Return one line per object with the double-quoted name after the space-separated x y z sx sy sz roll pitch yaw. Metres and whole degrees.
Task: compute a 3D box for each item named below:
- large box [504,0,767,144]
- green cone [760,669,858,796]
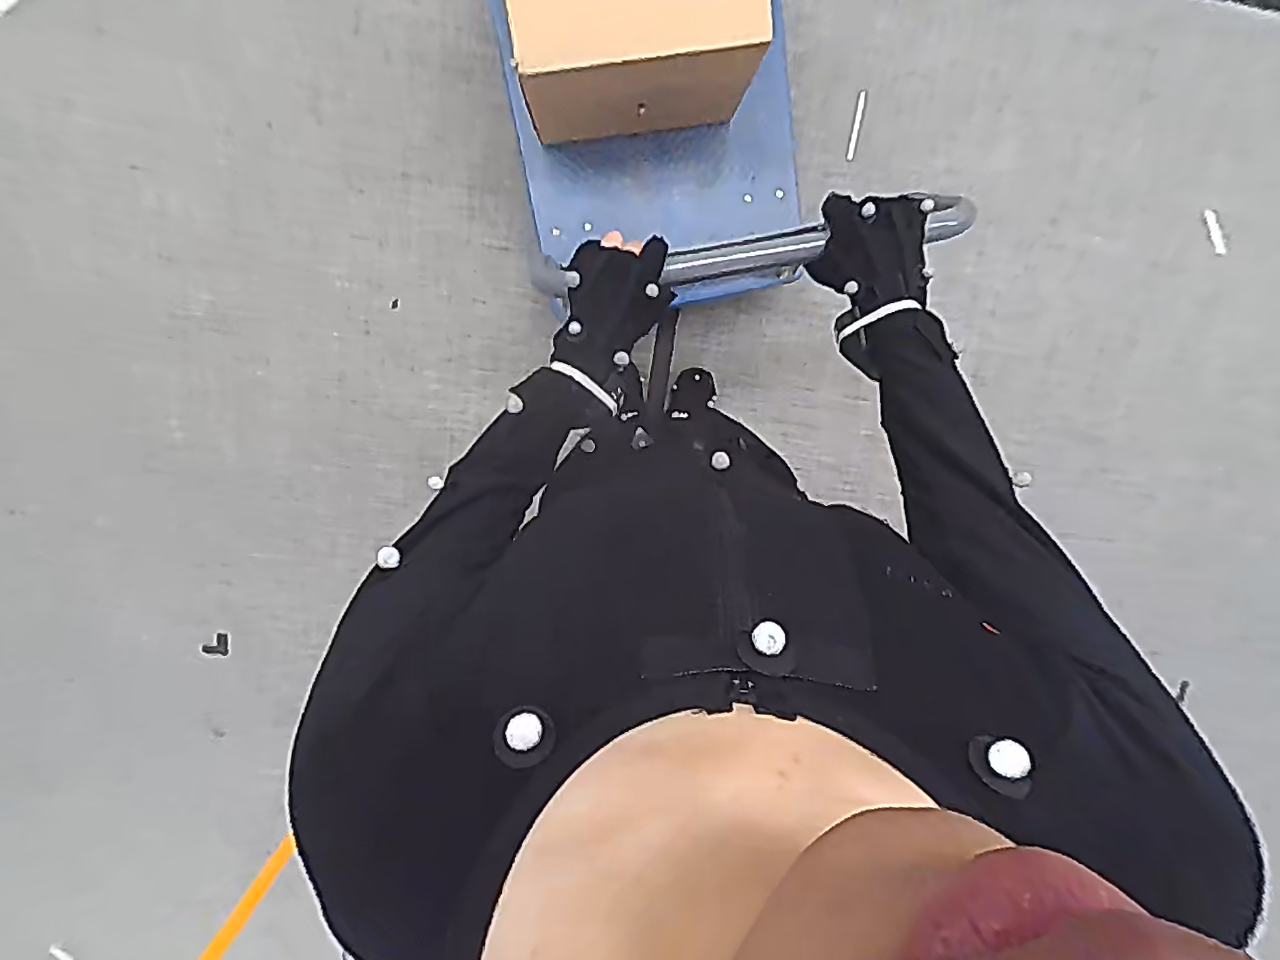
-0.022 -0.838 0.955 0.408 0.320 0.320 -8 104 0 "large box"
0.494 0.718 1.493 0.202 0.368 0.200 10 102 -7 "green cone"
